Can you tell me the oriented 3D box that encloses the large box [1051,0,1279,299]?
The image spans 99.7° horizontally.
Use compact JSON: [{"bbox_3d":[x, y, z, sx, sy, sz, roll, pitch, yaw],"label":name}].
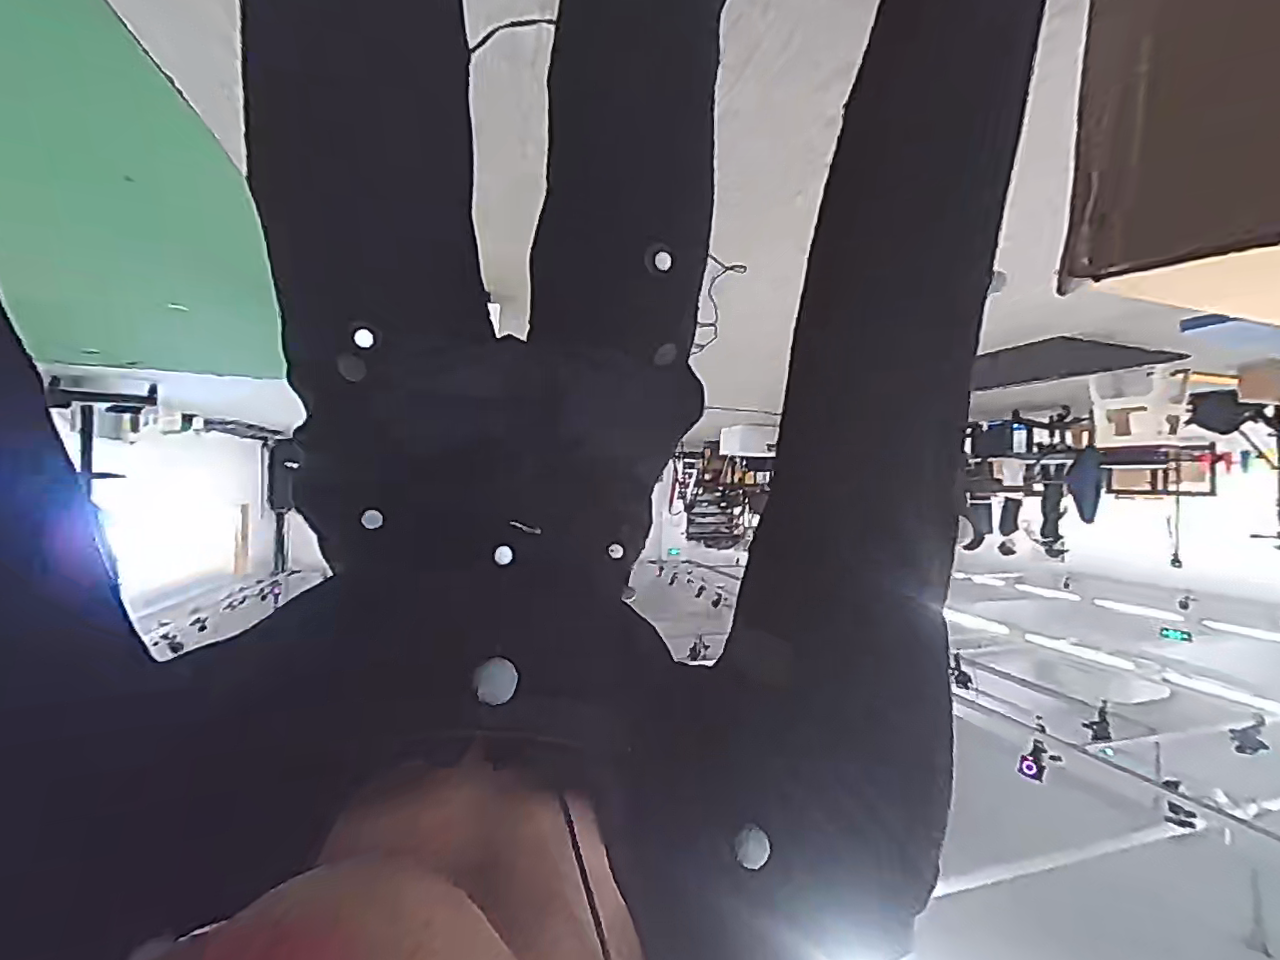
[{"bbox_3d":[0.497,-0.273,0.240,0.408,0.320,0.320,2,-176,-18],"label":"large box"}]
